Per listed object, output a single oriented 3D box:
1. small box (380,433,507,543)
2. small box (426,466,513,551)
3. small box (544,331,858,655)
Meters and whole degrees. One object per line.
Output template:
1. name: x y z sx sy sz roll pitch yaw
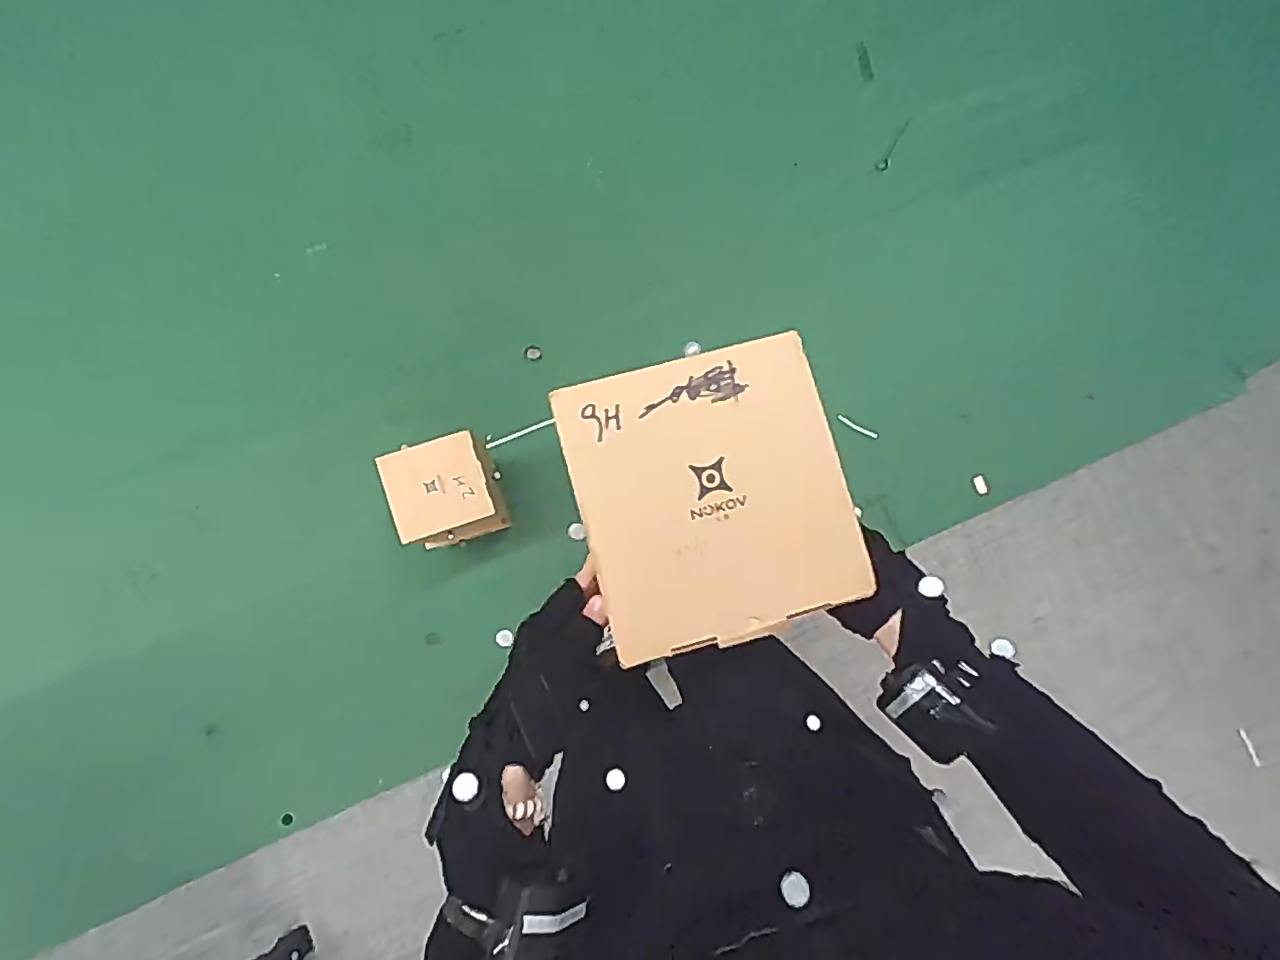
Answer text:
1. small box: -0.376 0.023 1.063 0.179 0.176 0.168 -18 86 -9
2. small box: -0.397 0.052 1.224 0.168 0.176 0.179 -17 86 -7
3. small box: 0.035 0.012 0.418 0.168 0.176 0.179 -15 85 -5
